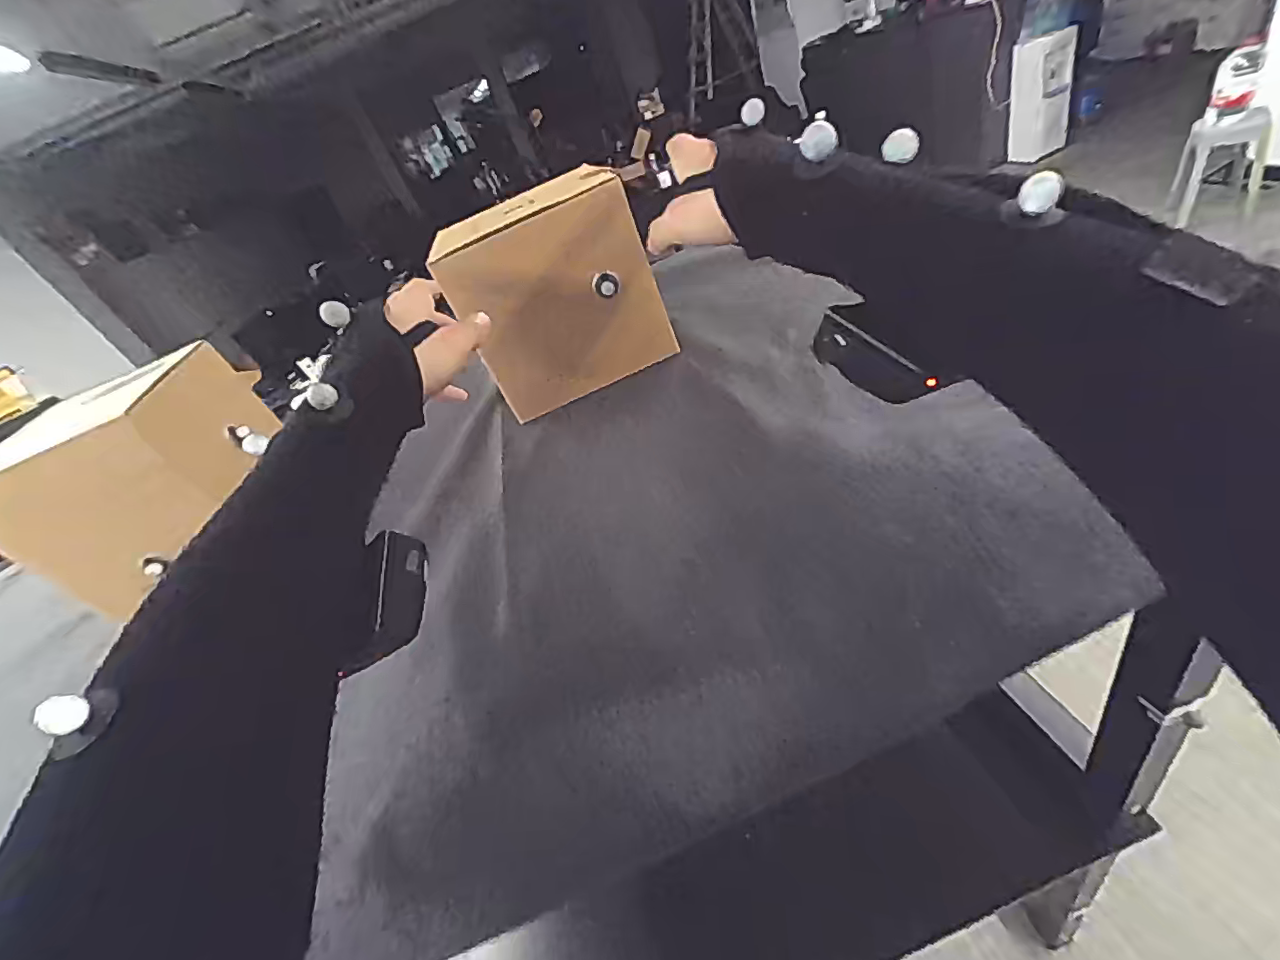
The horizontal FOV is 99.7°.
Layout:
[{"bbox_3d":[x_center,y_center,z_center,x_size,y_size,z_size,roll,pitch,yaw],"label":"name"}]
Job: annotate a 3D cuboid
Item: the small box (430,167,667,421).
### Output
[{"bbox_3d":[-0.083,-0.189,0.549,0.179,0.176,0.168,-24,35,0],"label":"small box"}]
